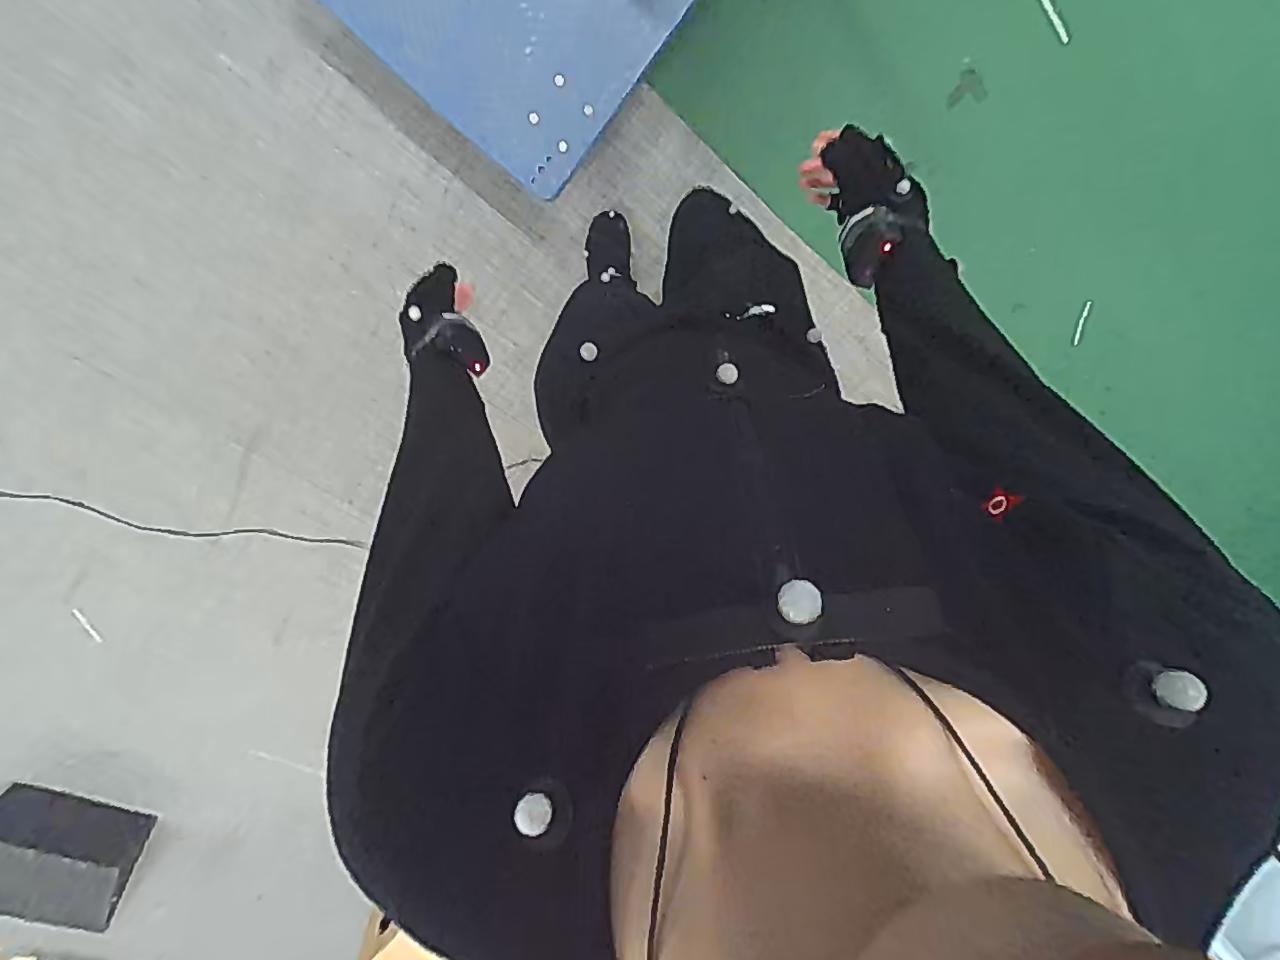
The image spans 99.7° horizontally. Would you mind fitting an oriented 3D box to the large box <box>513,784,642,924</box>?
[{"bbox_3d":[-0.254,1.520,2.205,0.408,0.320,0.320,35,110,-21],"label":"large box"}]
